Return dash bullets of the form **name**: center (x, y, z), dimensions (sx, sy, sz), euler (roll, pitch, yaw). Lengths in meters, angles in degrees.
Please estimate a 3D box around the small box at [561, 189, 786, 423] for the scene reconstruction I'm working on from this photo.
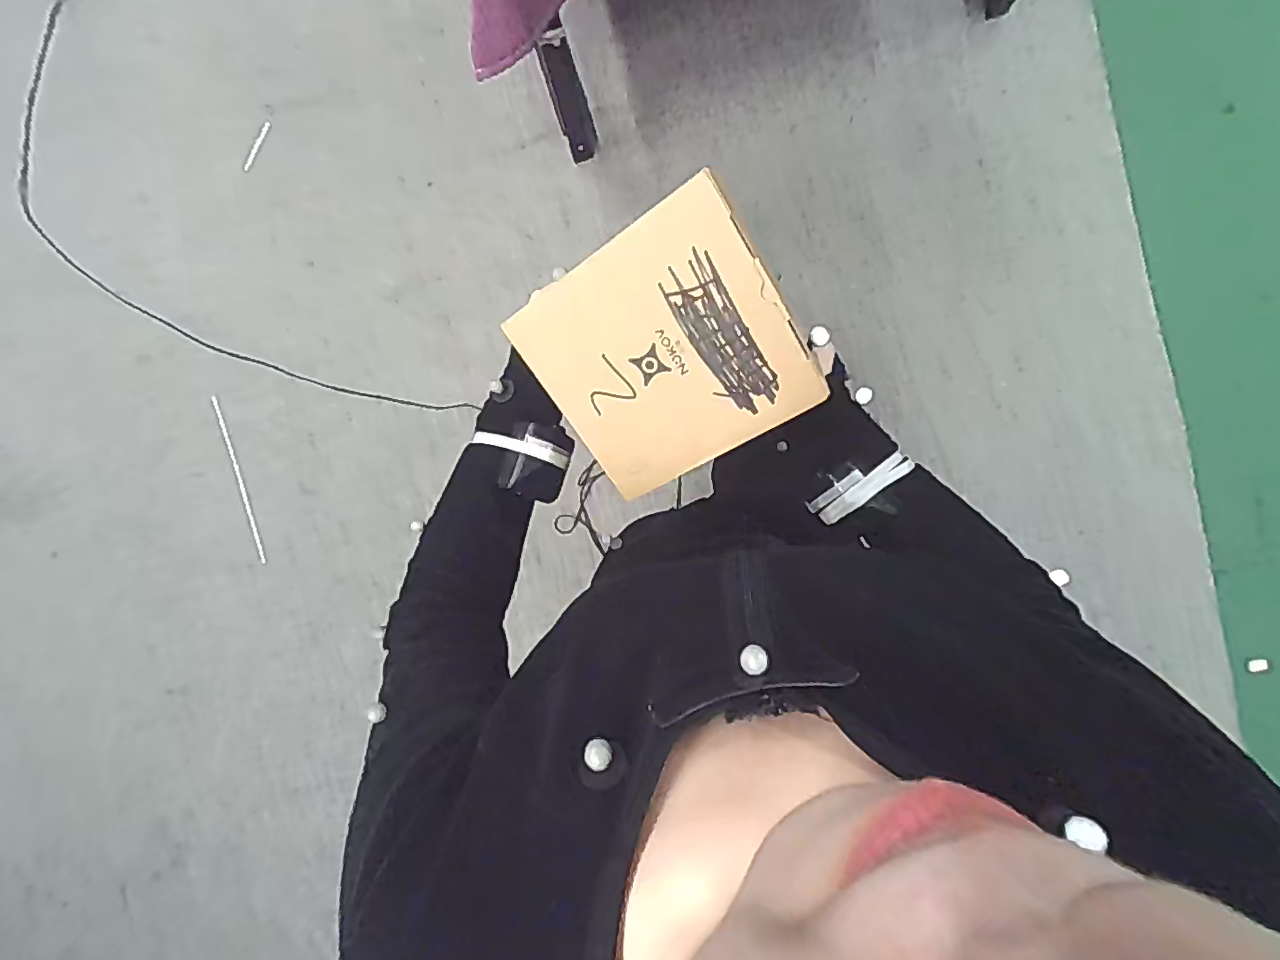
- **small box**: center (0.047, -0.192, 0.598), dimensions (0.179, 0.176, 0.168), euler (-24, 109, 21)
